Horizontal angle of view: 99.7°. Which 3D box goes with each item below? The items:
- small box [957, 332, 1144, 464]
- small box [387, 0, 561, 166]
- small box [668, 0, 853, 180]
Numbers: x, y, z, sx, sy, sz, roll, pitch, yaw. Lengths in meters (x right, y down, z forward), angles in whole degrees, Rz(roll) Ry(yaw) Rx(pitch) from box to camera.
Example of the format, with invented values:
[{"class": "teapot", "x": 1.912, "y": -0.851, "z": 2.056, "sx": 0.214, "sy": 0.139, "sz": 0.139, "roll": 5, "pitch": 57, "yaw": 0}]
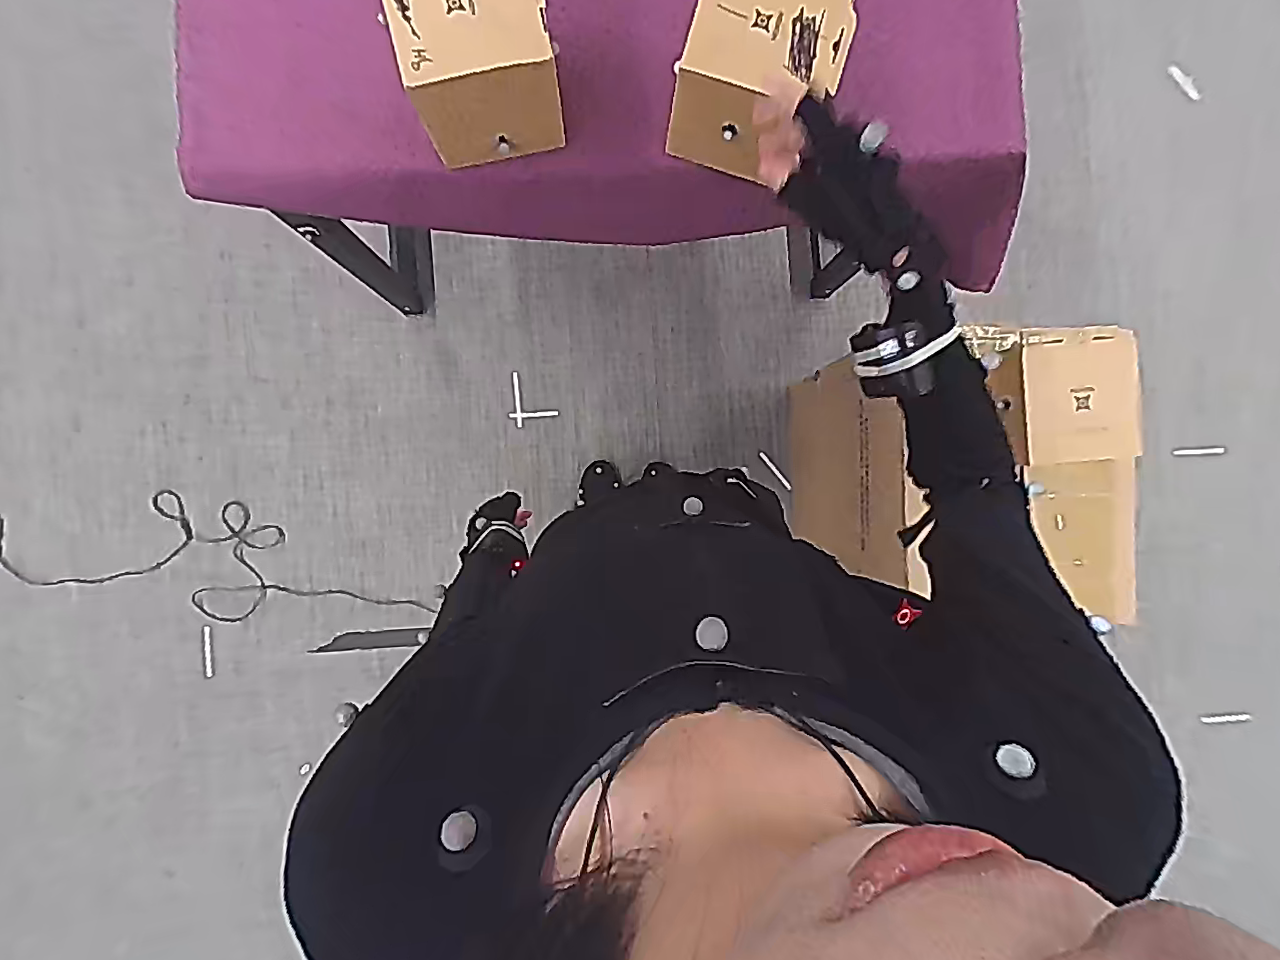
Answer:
[{"class": "small box", "x": 0.623, "y": -0.118, "z": 0.840, "sx": 0.168, "sy": 0.176, "sz": 0.179, "roll": -5, "pitch": 92, "yaw": 0}, {"class": "small box", "x": -0.204, "y": -0.541, "z": 0.695, "sx": 0.179, "sy": 0.176, "sz": 0.168, "roll": -14, "pitch": 90, "yaw": -4}, {"class": "small box", "x": 0.147, "y": -0.533, "z": 0.713, "sx": 0.179, "sy": 0.176, "sz": 0.168, "roll": 17, "pitch": 89, "yaw": -2}]
